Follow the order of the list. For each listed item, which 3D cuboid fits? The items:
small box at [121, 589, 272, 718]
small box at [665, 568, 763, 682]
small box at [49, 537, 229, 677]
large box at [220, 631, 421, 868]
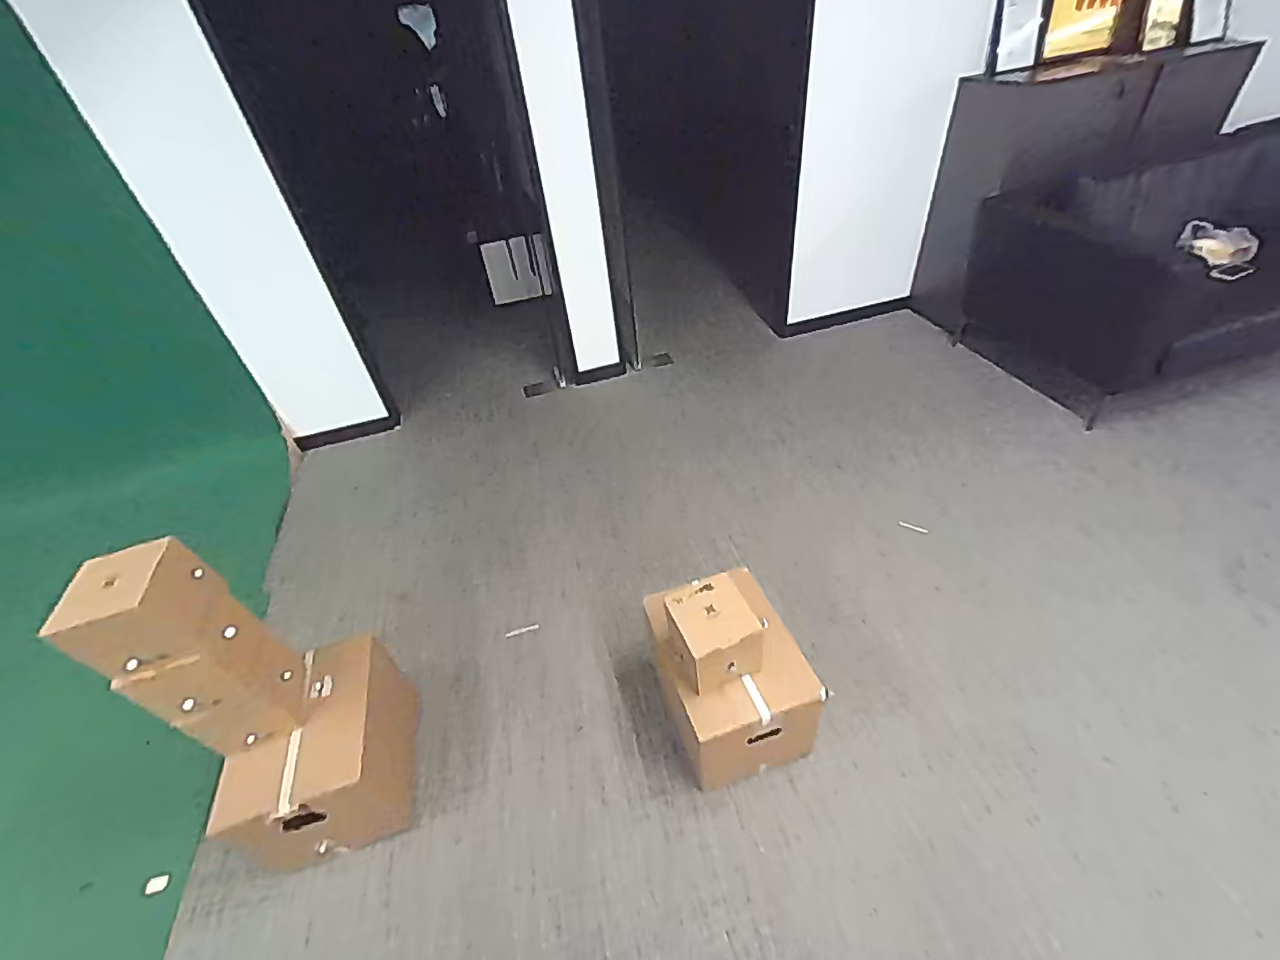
[{"bbox_3d":[-0.923,0.369,1.150,0.168,0.176,0.179,-19,44,-7],"label":"small box"},{"bbox_3d":[0.172,0.342,1.254,0.168,0.176,0.179,-20,44,-10],"label":"small box"},{"bbox_3d":[-0.945,0.246,1.046,0.168,0.176,0.179,-18,44,-5],"label":"small box"},{"bbox_3d":[-0.779,0.681,1.392,0.320,0.320,0.408,-17,41,-9],"label":"large box"}]
